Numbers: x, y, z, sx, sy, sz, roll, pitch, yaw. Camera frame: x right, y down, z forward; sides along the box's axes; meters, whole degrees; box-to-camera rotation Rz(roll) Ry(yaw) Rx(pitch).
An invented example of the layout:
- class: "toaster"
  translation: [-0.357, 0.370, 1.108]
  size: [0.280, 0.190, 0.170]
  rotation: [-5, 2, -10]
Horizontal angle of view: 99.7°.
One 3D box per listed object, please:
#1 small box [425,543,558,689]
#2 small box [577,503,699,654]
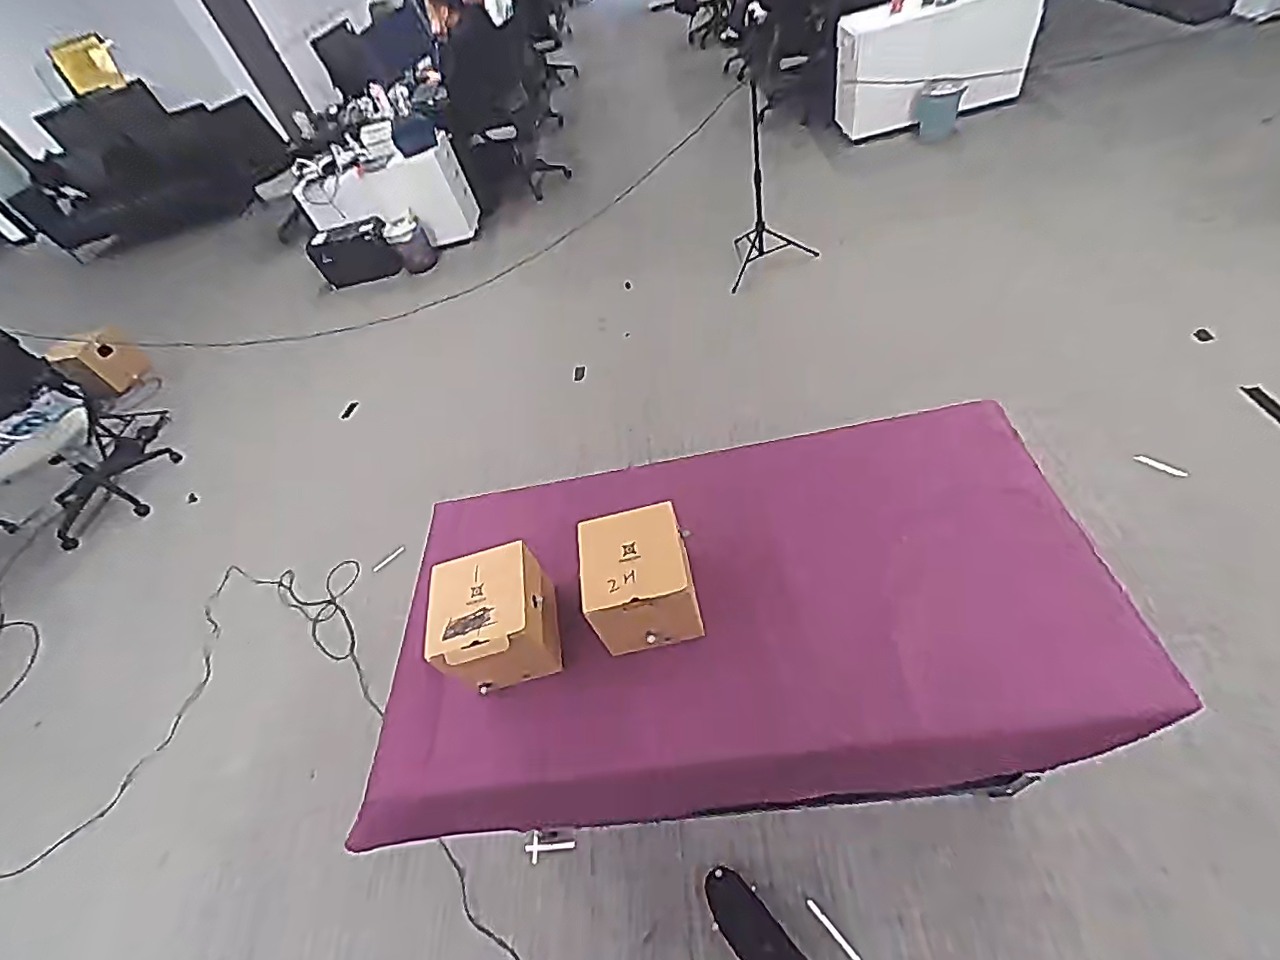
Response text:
- class: "small box"
  translation: [-0.249, 0.243, 0.936]
  size: [0.168, 0.176, 0.179]
  rotation: [-17, 48, 2]
- class: "small box"
  translation: [-0.003, 0.171, 0.922]
  size: [0.168, 0.176, 0.179]
  rotation: [-14, 49, 5]
